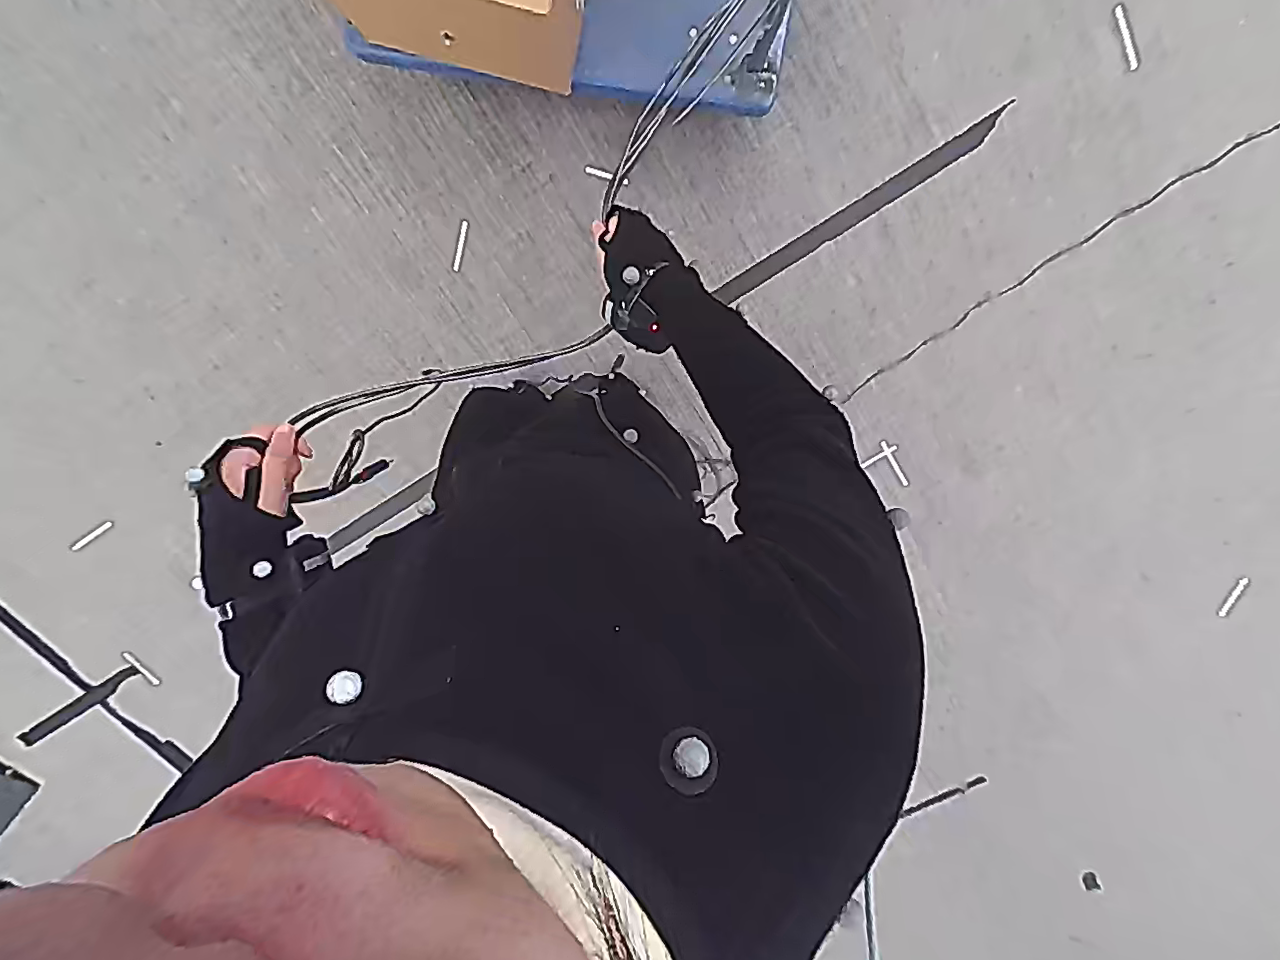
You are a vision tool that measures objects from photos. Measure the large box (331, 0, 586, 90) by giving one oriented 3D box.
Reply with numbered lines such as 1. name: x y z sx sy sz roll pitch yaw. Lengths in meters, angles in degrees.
1. large box: -0.295 -0.909 0.886 0.408 0.320 0.320 11 106 -4
